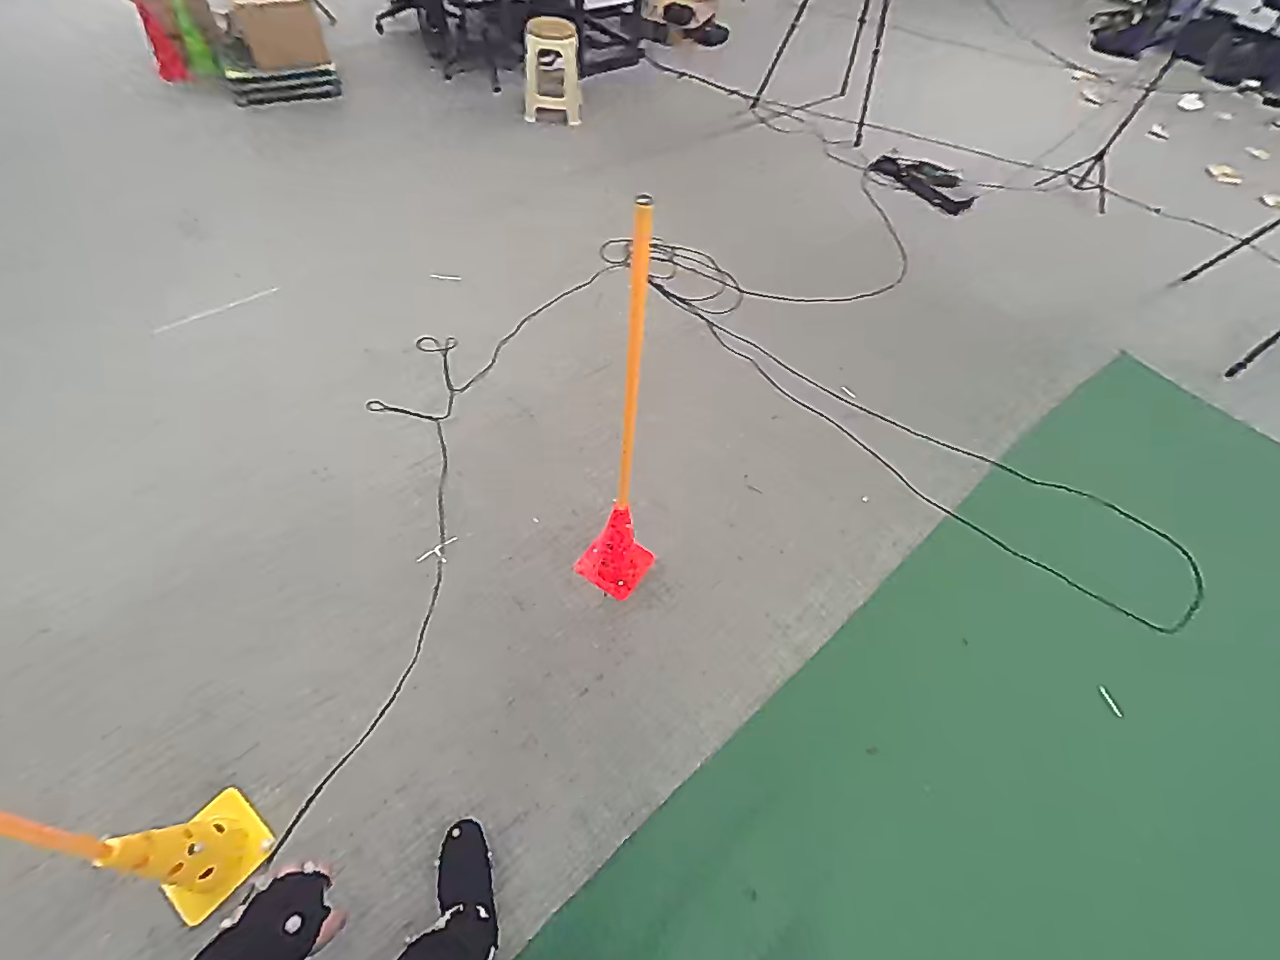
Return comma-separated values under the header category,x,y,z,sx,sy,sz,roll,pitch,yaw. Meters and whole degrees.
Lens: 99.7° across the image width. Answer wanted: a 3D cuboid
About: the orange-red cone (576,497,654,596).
category,x,y,z,sx,sy,sz,roll,pitch,yaw
orange-red cone,-0.062,0.159,1.601,0.198,0.360,0.199,33,58,15
